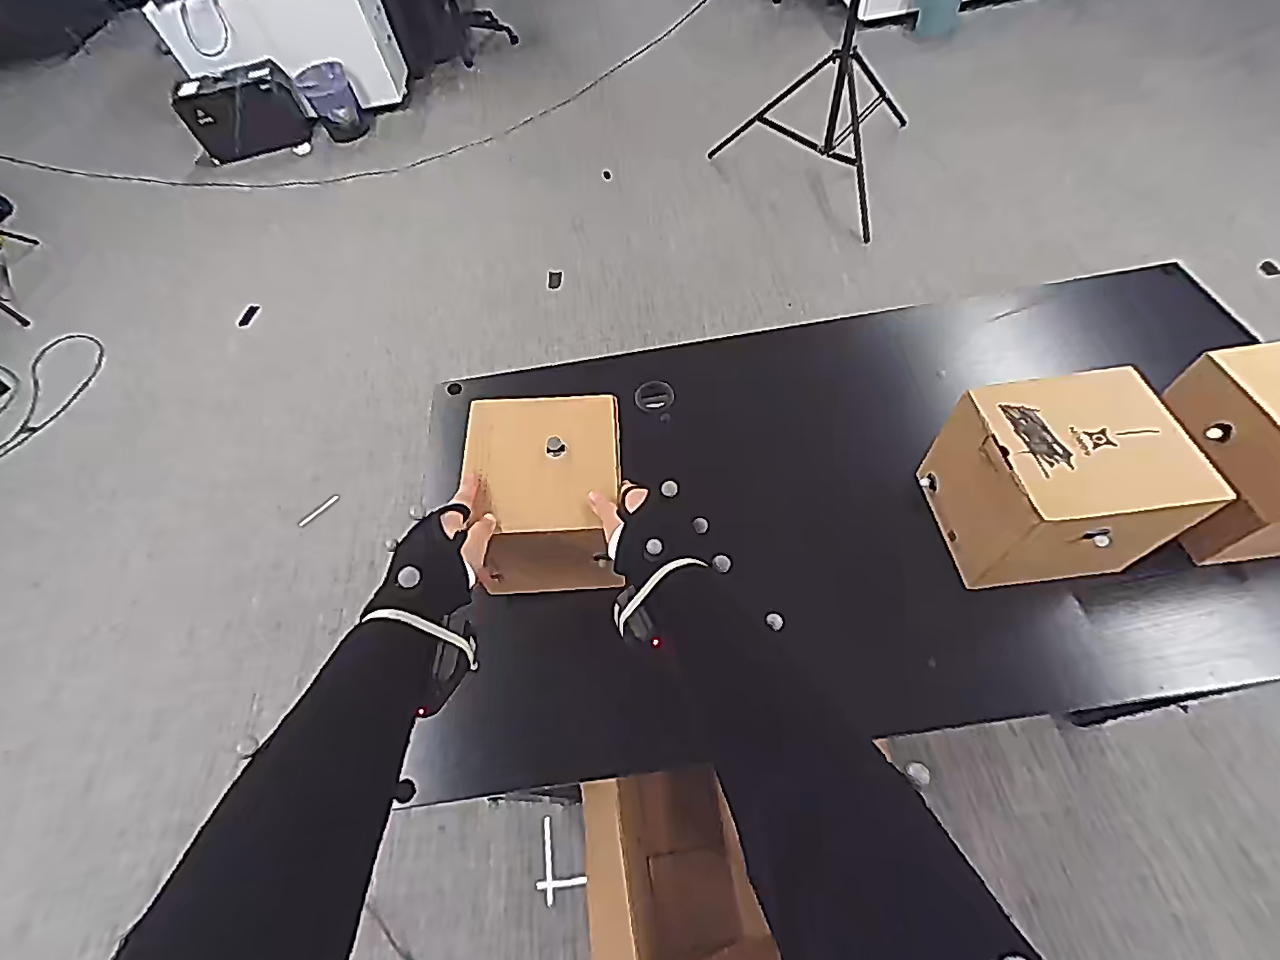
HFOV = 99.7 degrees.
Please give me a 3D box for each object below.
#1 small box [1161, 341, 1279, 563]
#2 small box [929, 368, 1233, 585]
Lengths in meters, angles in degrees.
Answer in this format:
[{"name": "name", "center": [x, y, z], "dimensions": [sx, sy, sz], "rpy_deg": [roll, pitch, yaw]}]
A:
[{"name": "small box", "center": [0.688, -0.031, 0.581], "dimensions": [0.168, 0.176, 0.179], "rpy_deg": [-8, 57, 3]}, {"name": "small box", "center": [0.445, 0.004, 0.593], "dimensions": [0.179, 0.176, 0.168], "rpy_deg": [-7, 57, 2]}]
